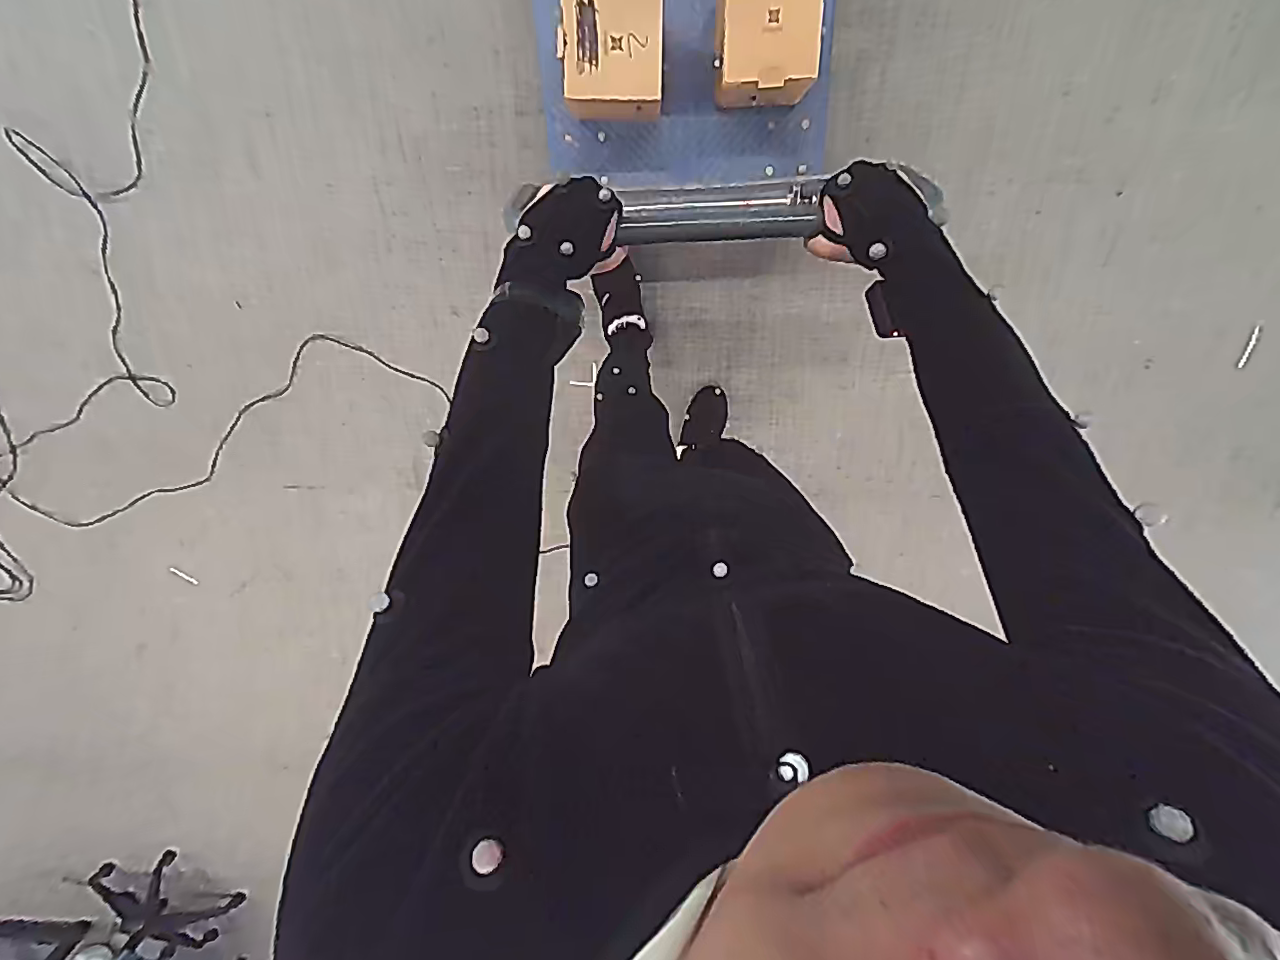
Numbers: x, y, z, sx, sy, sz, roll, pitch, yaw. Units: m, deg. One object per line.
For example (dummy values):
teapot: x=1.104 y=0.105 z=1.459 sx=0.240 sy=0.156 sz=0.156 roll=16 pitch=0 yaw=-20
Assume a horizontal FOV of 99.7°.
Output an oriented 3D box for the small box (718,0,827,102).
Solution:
small box: x=0.232 y=-0.816 z=0.985 sx=0.168 sy=0.176 sz=0.179 roll=-2 pitch=114 yaw=3
